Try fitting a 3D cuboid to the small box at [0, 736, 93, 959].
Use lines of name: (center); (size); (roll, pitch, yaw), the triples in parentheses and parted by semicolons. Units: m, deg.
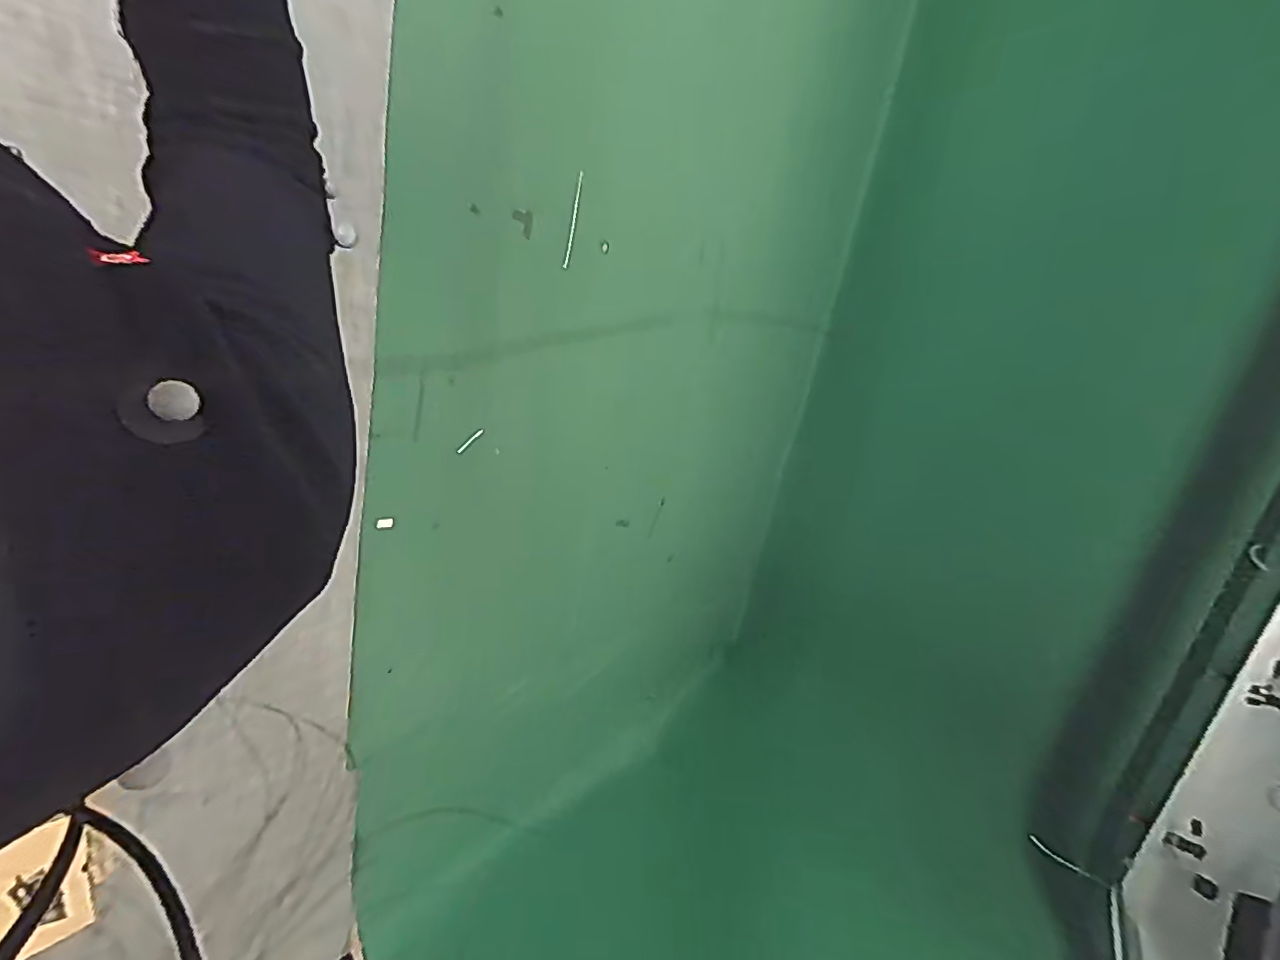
small box: (-0.744, 0.423, 0.595); (0.179, 0.176, 0.168); (-7, 111, -52)
